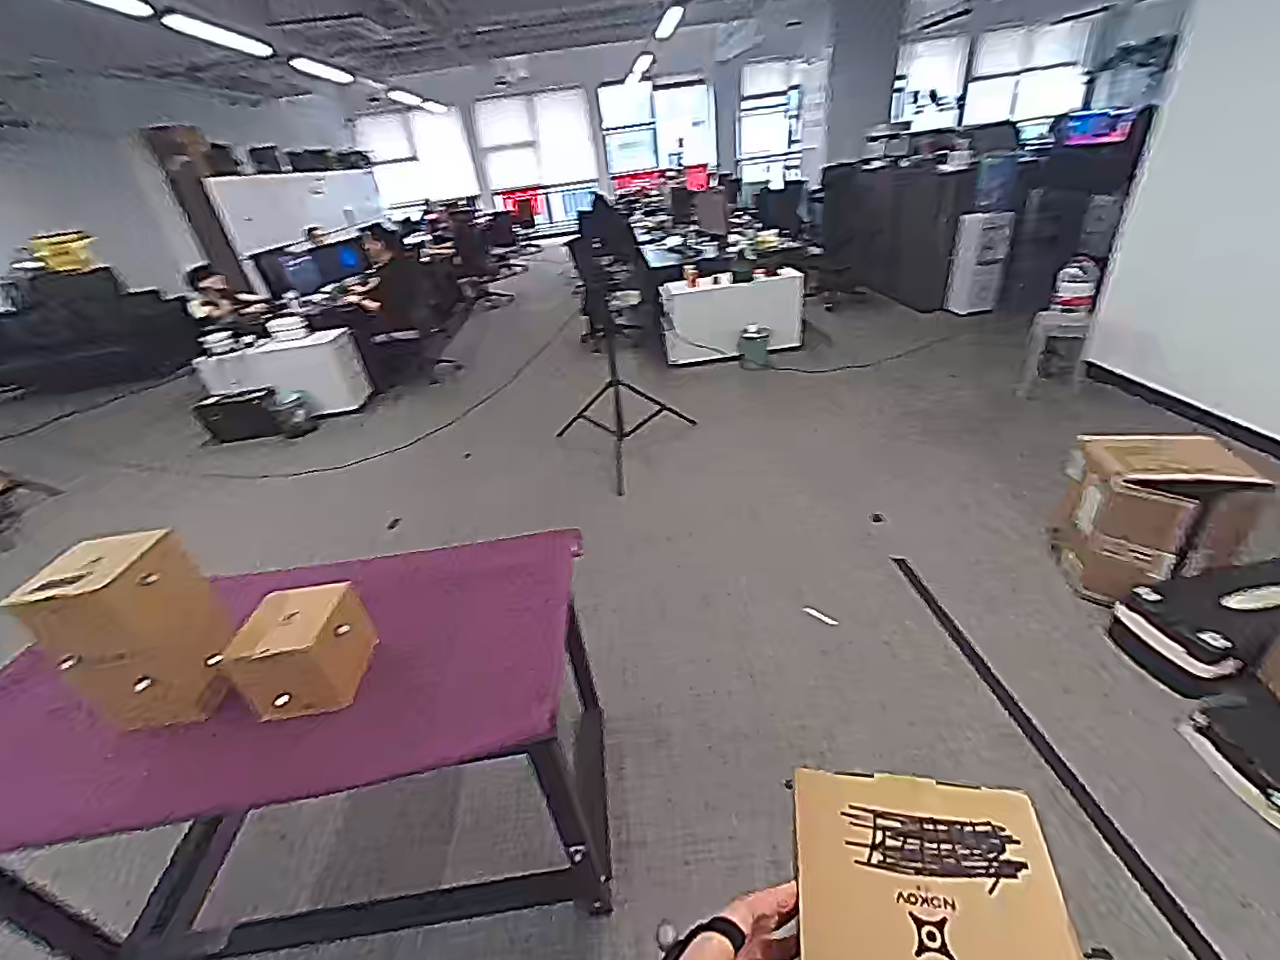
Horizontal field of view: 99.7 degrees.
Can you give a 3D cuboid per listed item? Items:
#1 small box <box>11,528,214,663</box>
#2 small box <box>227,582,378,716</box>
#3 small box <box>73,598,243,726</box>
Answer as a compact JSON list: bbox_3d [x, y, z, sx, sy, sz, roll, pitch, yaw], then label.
[{"bbox_3d":[-0.941,0.216,0.991,0.168,0.176,0.179,-8,30,-1],"label":"small box"},{"bbox_3d":[-0.641,0.328,1.058,0.168,0.176,0.179,-8,31,0],"label":"small box"},{"bbox_3d":[-0.921,0.359,1.070,0.179,0.176,0.168,-8,31,1],"label":"small box"}]
